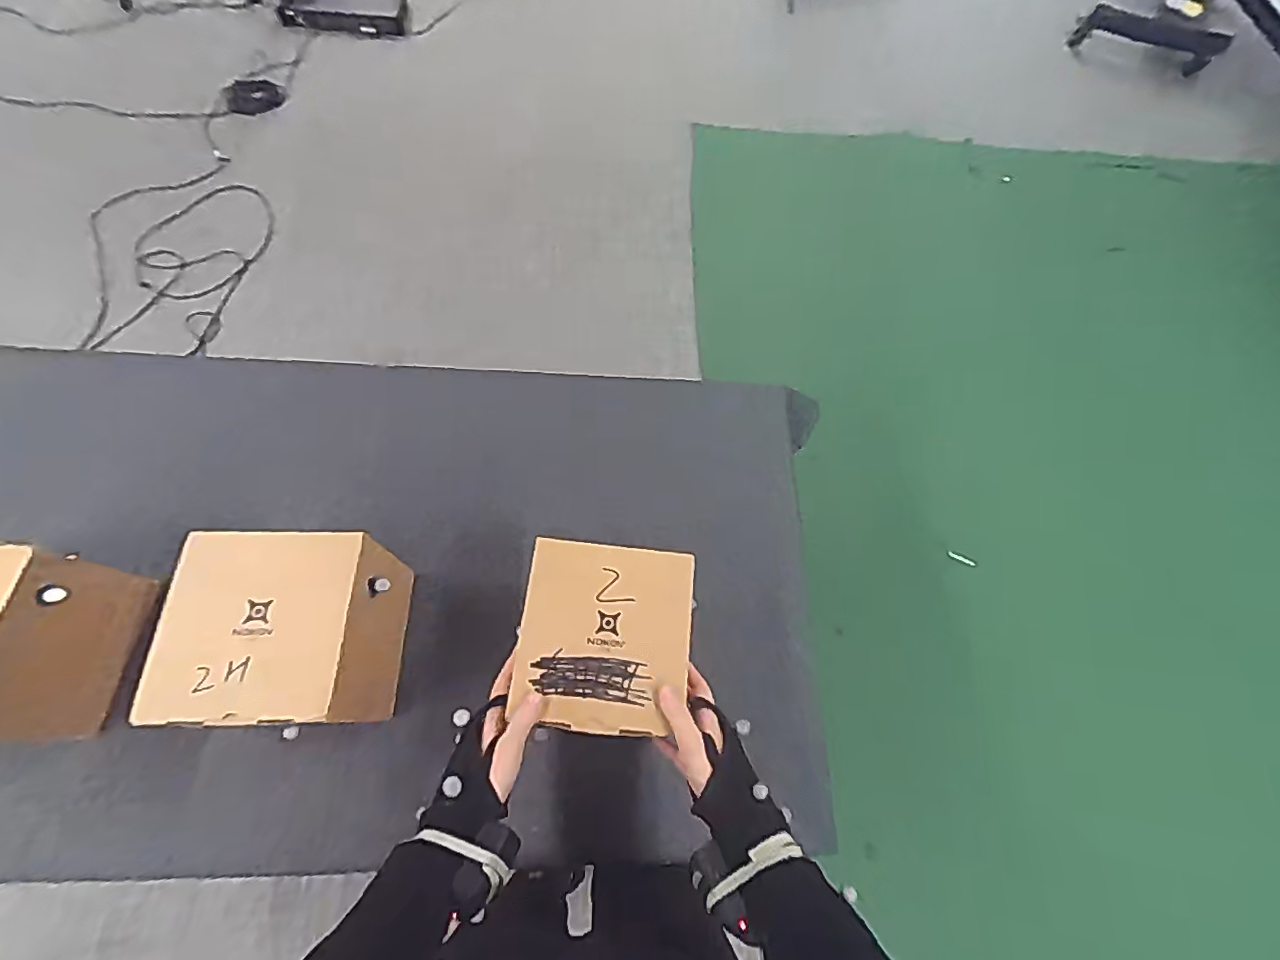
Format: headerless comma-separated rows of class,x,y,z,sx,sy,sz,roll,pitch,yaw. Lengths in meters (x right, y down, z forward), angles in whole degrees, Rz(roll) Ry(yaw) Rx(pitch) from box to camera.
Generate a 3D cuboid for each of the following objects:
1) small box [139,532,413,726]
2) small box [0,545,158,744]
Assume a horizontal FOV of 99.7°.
small box,-0.358,0.166,0.578,0.168,0.176,0.179,1,66,-4
small box,-0.659,0.168,0.552,0.168,0.176,0.179,6,66,-2
